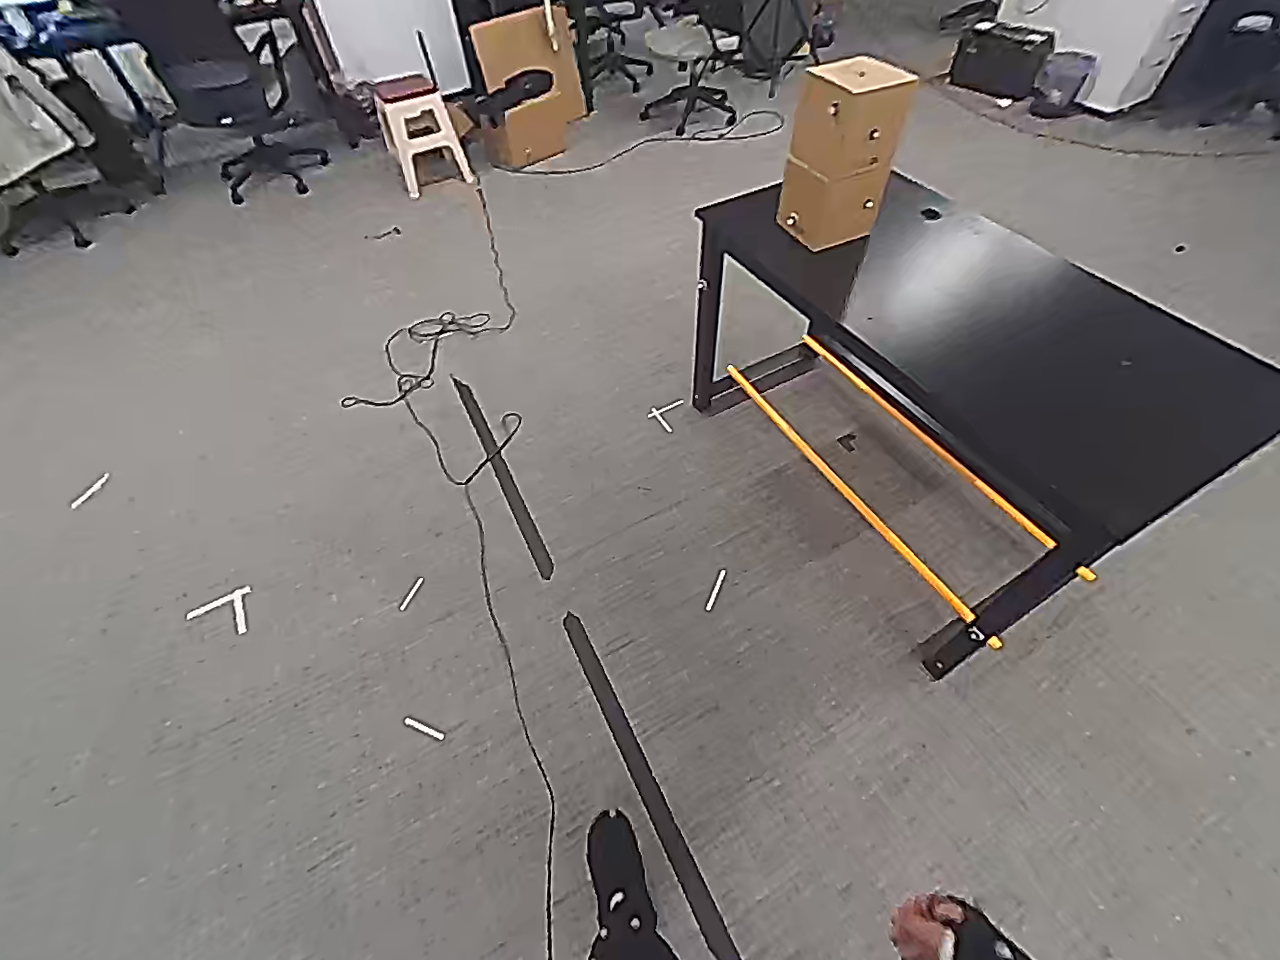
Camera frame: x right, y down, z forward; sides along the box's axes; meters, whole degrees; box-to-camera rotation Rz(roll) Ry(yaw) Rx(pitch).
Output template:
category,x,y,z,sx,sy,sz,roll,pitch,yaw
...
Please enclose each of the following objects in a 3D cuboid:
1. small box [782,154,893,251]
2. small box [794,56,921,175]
category,x,y,z,sx,sy,sz,roll,pitch,yaw
small box,0.470,-0.691,1.317,0.179,0.176,0.168,-23,54,-13
small box,0.467,-0.796,1.190,0.168,0.176,0.179,-22,54,-14
